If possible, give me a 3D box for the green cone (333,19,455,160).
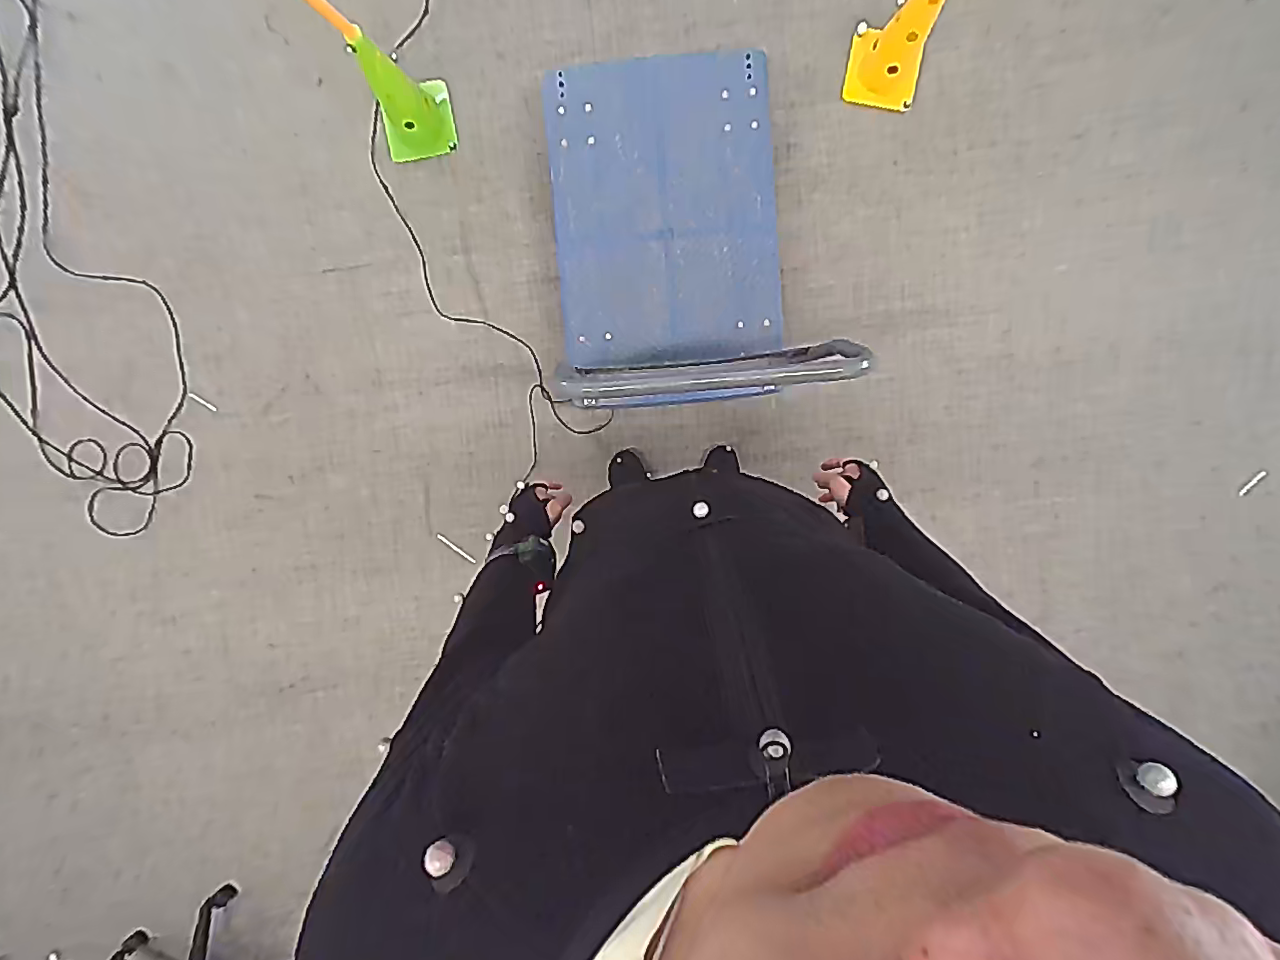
[{"bbox_3d":[-0.645,-1.017,1.367,0.202,0.368,0.200,-11,94,3],"label":"green cone"}]
